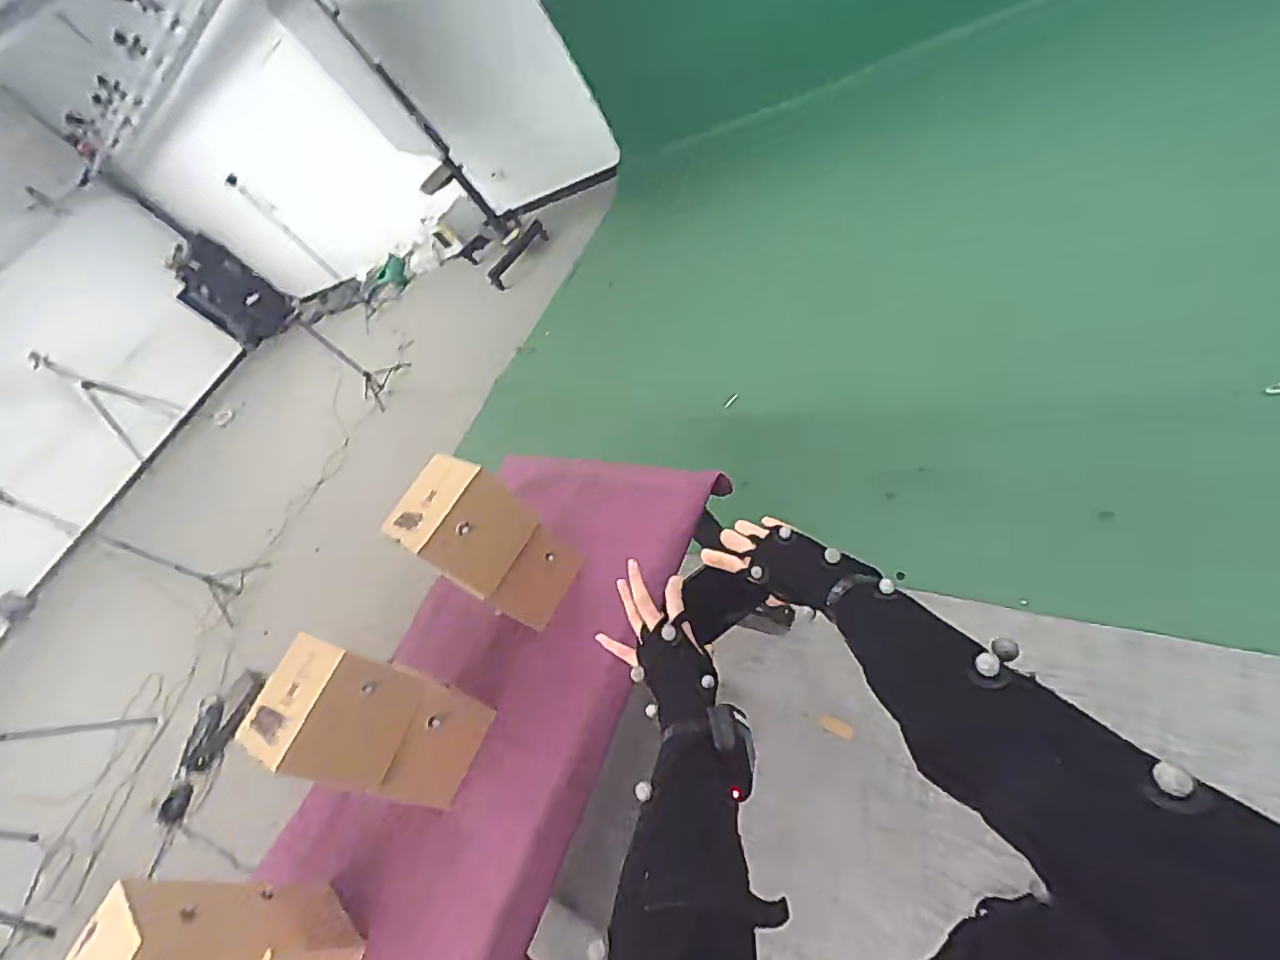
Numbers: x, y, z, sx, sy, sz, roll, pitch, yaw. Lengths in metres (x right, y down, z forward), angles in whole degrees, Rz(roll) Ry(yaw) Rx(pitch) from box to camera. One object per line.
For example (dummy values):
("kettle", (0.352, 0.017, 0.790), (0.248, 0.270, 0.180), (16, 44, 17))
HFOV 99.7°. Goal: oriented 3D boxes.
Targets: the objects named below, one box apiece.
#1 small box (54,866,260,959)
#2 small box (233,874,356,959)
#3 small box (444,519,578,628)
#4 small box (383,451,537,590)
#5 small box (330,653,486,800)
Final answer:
("small box", (-0.687, 0.680, 0.762), (0.179, 0.176, 0.168), (4, 58, 38))
("small box", (-0.597, 0.771, 0.867), (0.179, 0.176, 0.168), (9, 63, 41))
("small box", (-0.253, 0.169, 1.100), (0.168, 0.176, 0.179), (16, 68, 44))
("small box", (-0.320, 0.074, 0.984), (0.168, 0.176, 0.179), (16, 66, 44))
("small box", (-0.412, 0.449, 0.989), (0.168, 0.176, 0.179), (9, 62, 41))
